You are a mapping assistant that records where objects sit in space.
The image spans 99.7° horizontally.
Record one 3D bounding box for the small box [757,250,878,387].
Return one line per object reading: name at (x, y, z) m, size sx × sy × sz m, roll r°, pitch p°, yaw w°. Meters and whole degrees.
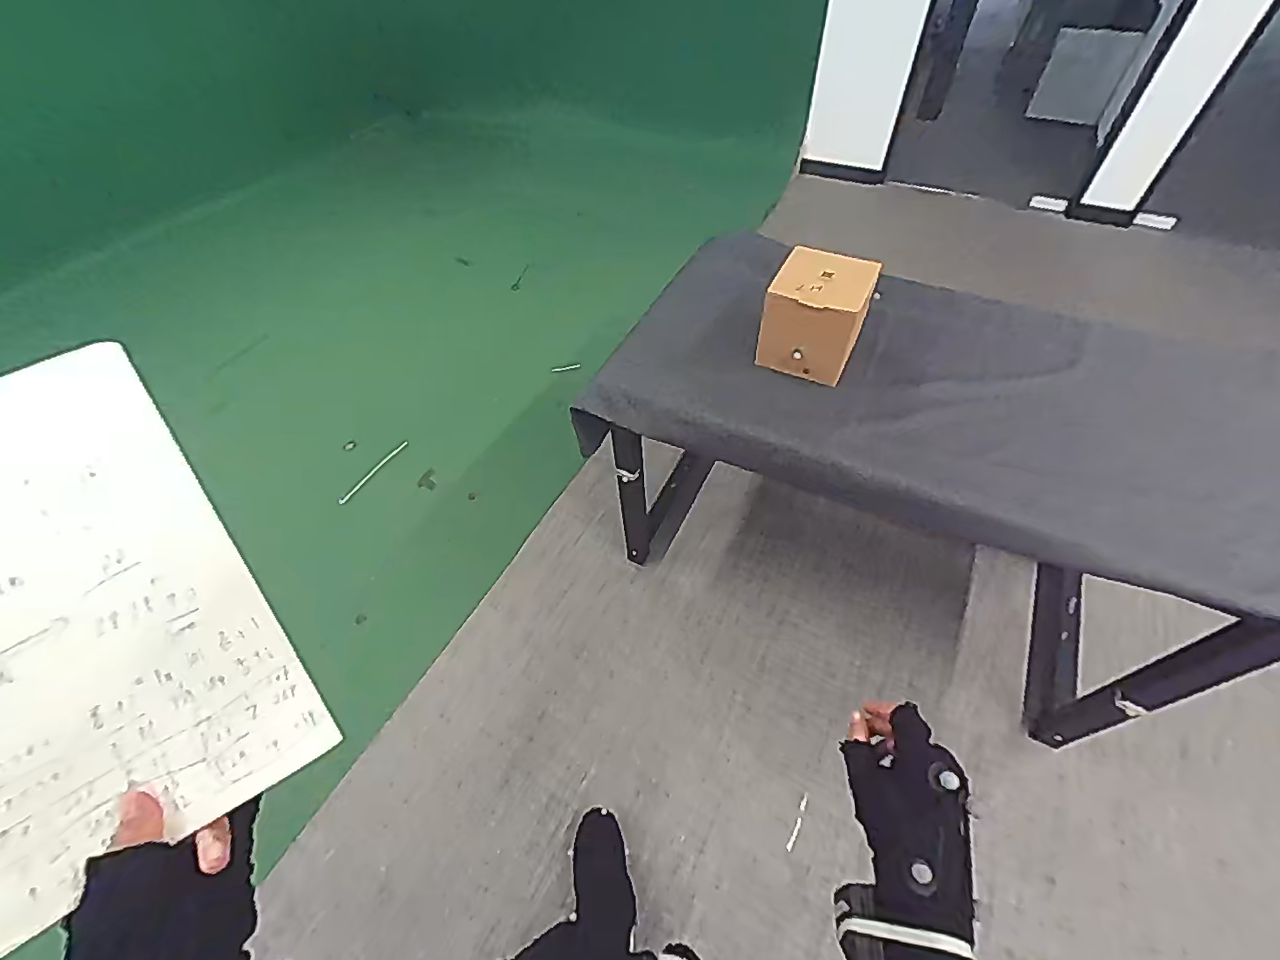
small box at (0.338, -0.313, 1.052) m, size 0.168 × 0.176 × 0.179 m, roll 21°, pitch 55°, yaw 19°
